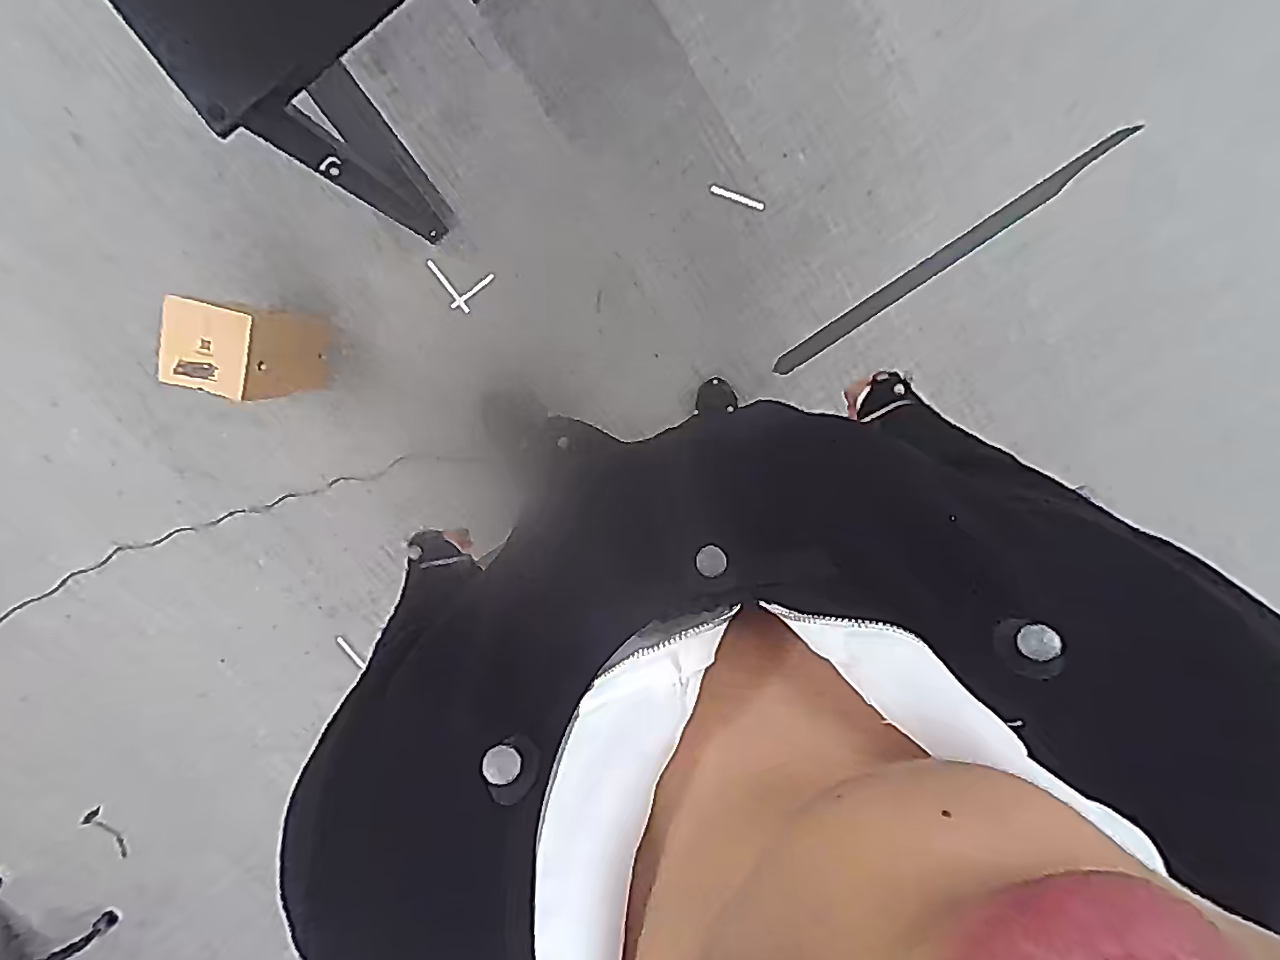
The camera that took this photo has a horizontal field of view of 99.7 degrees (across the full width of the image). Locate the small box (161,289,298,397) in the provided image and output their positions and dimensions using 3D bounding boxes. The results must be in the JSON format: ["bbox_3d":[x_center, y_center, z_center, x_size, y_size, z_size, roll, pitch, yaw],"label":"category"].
[{"bbox_3d":[-0.863,-0.286,1.150,0.168,0.176,0.179,15,101,-5],"label":"small box"}]

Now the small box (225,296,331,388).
[{"bbox_3d":[-0.879,-0.328,1.310,0.168,0.176,0.179,13,101,-4],"label":"small box"}]
